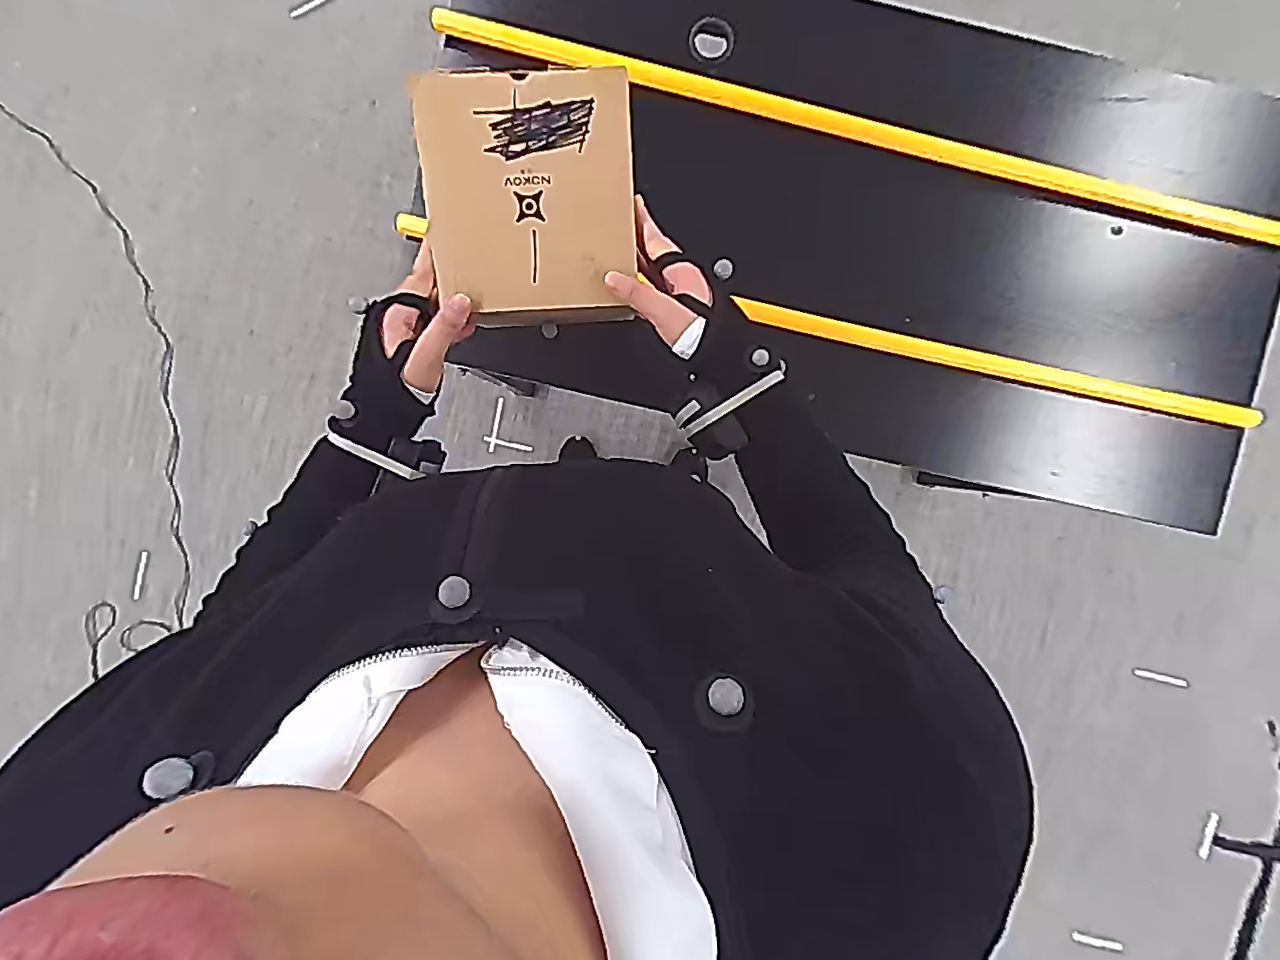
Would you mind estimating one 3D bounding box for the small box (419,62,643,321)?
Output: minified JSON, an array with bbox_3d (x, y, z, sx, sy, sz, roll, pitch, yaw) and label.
[{"bbox_3d":[-0.087,-0.248,0.506,0.168,0.176,0.179,-4,103,-2],"label":"small box"}]
